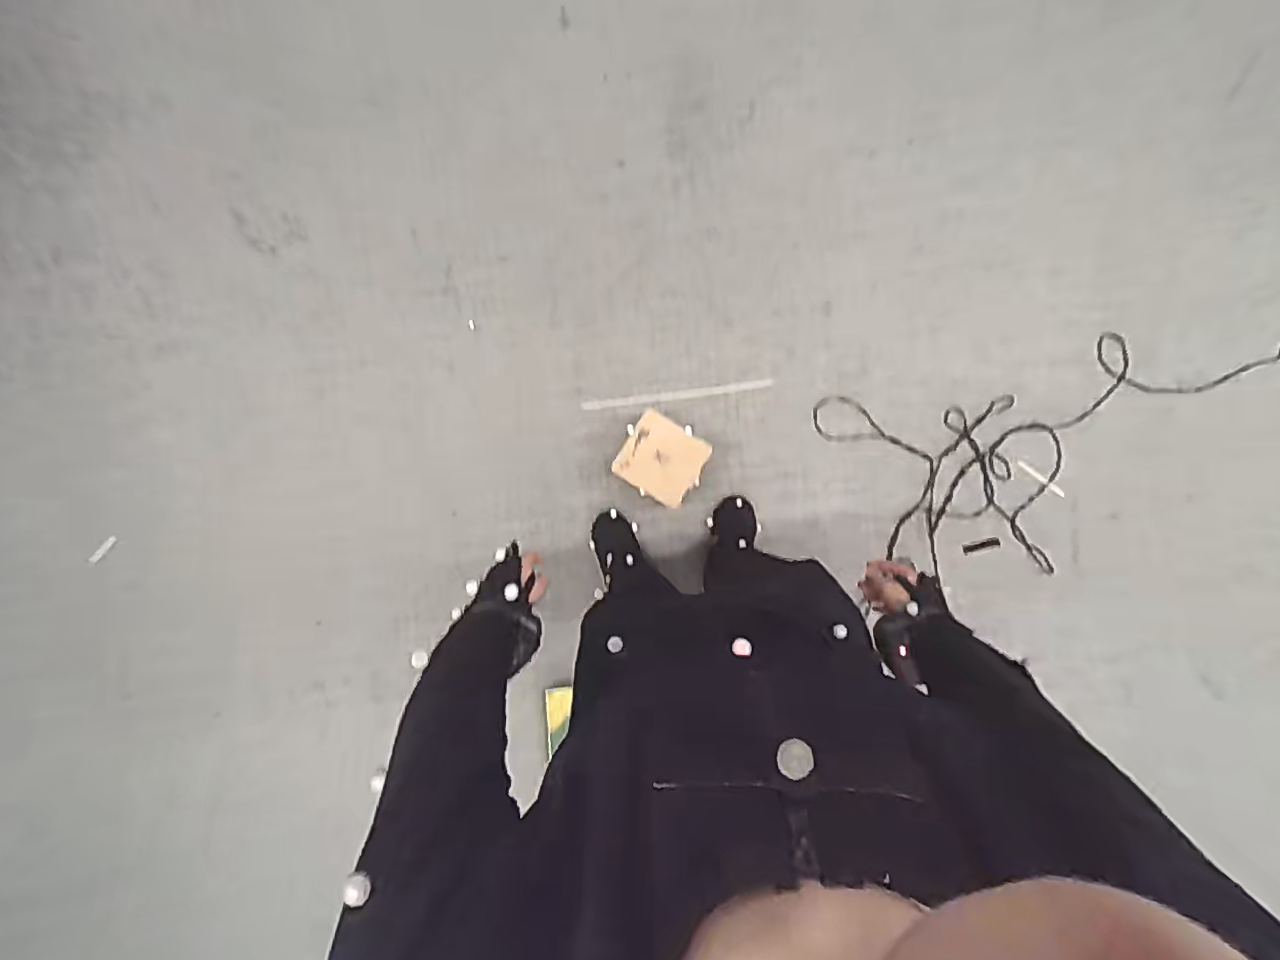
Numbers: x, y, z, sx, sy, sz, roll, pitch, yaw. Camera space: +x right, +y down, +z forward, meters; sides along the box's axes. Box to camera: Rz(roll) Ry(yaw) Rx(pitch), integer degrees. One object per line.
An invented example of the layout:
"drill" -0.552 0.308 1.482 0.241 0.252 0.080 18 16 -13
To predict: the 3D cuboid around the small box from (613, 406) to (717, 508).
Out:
"small box" 0.059 -0.054 1.268 0.179 0.176 0.168 33 93 2
